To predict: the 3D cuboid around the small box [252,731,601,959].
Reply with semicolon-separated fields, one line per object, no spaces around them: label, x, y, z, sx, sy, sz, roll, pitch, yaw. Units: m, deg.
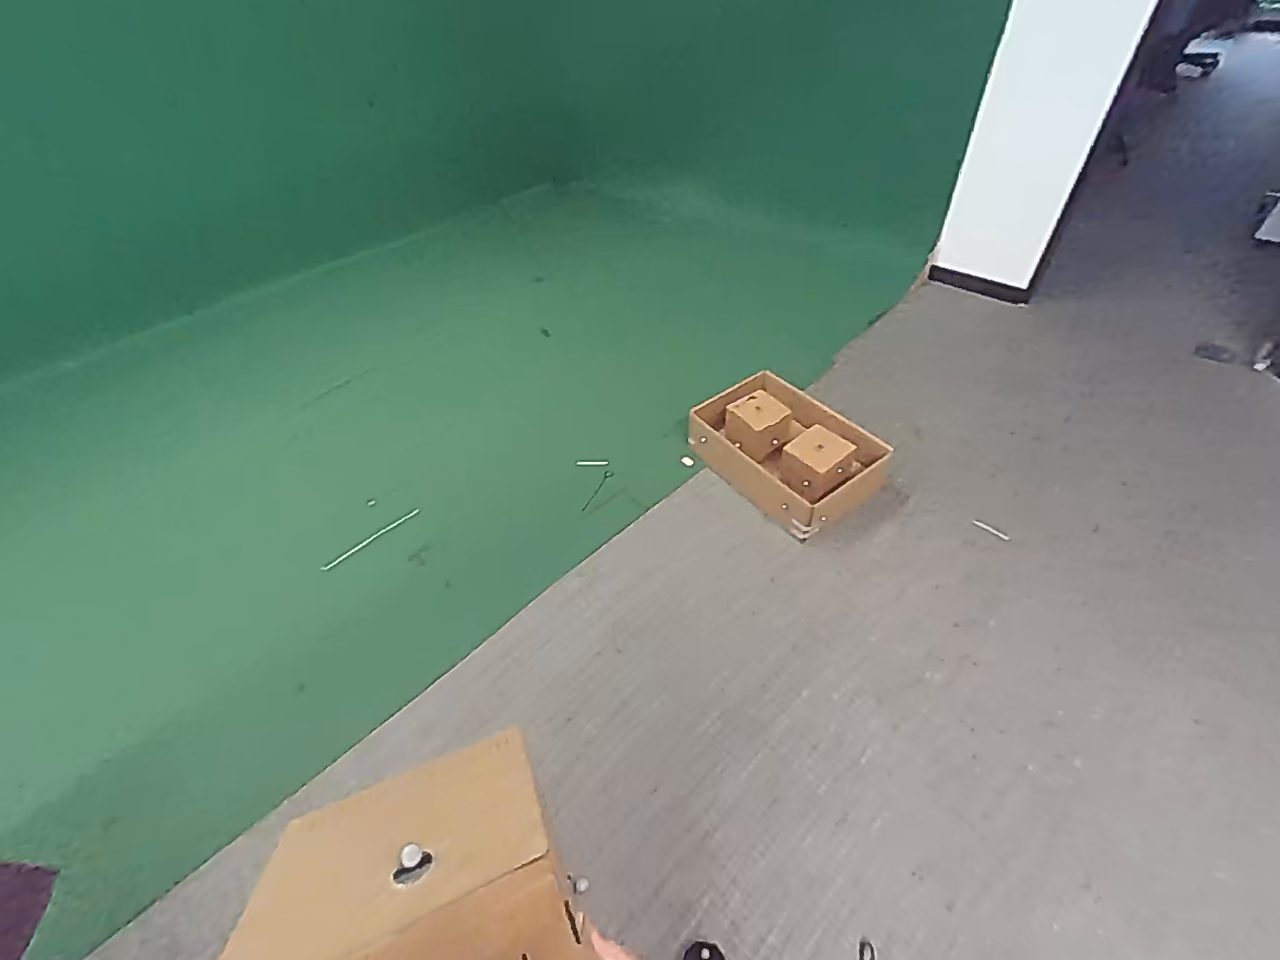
small box;-0.125;0.299;0.352;0.179;0.168;0.176;-17;5;-17
